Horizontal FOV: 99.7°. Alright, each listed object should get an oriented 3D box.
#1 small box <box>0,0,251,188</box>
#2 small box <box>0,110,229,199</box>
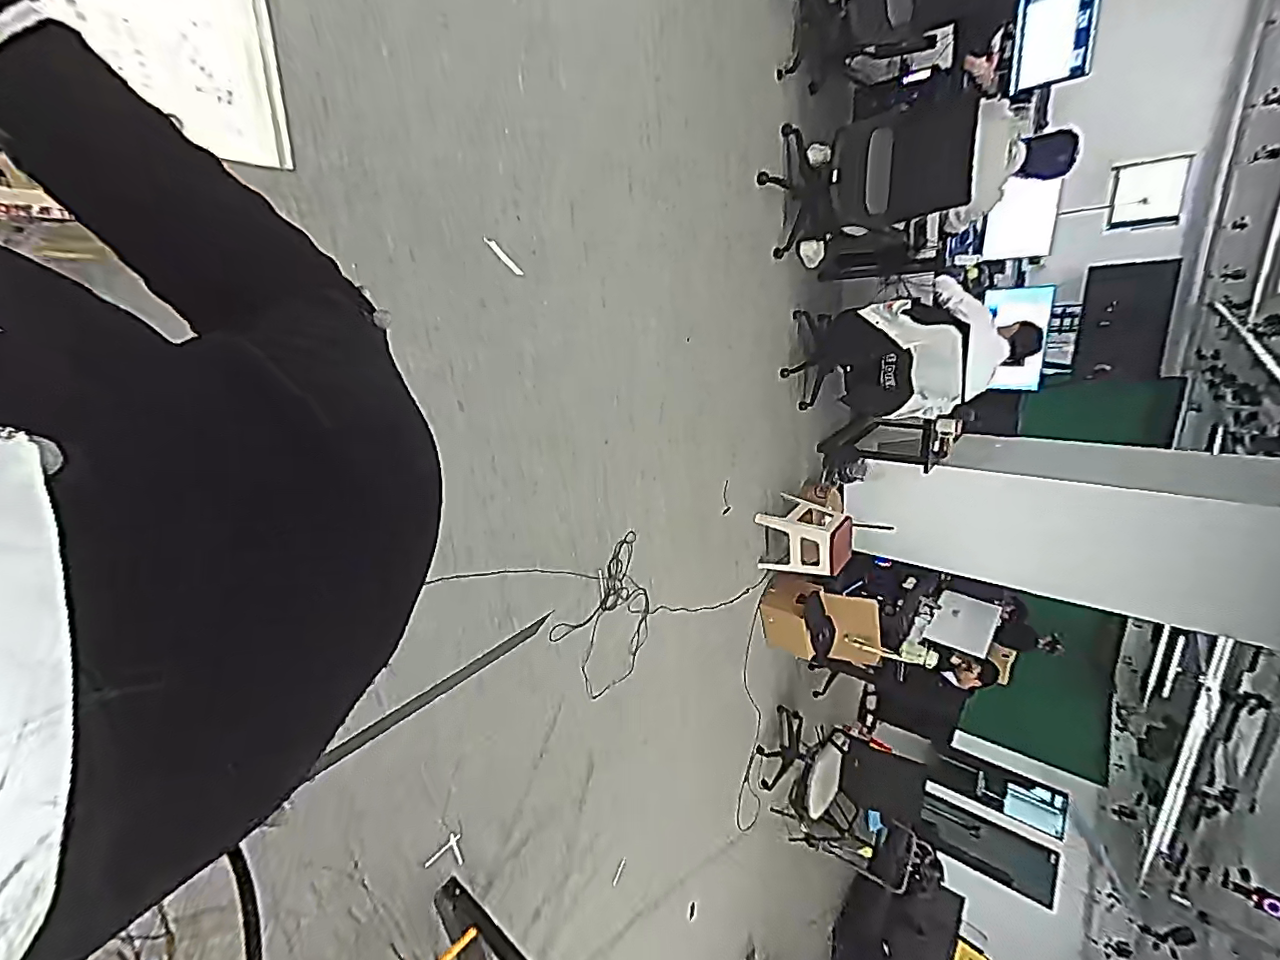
[{"bbox_3d":[-0.537,-0.420,0.552,0.168,0.176,0.179,-20,115,-50],"label":"small box"},{"bbox_3d":[-0.655,-0.453,0.664,0.179,0.176,0.168,-25,118,-47],"label":"small box"}]
